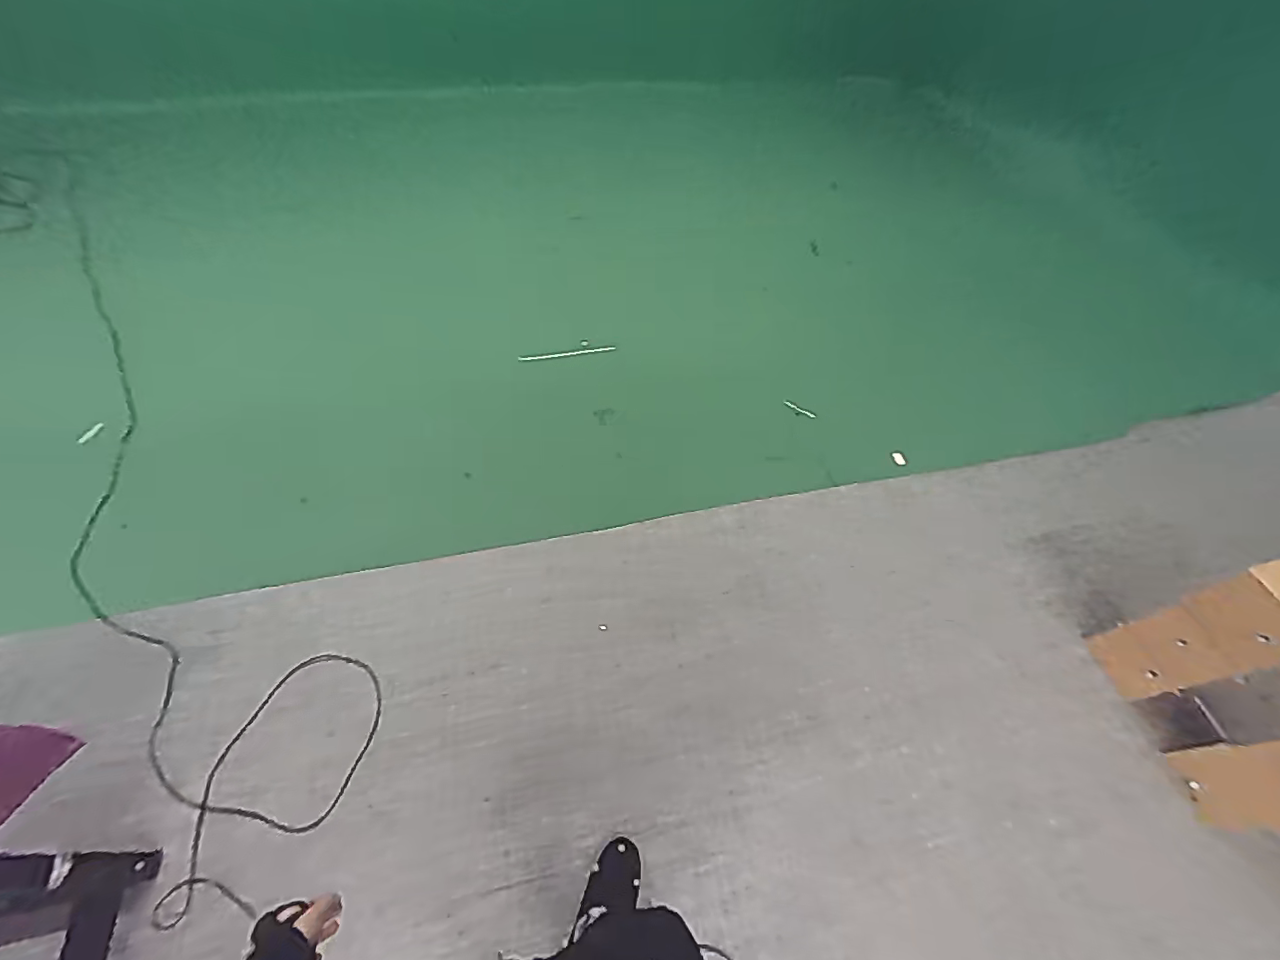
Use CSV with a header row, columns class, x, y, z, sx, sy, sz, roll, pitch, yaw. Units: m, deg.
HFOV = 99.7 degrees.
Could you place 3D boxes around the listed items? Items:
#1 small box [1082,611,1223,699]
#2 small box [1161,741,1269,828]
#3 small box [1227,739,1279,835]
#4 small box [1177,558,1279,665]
class,x,y,z,sx,sy,sz,roll,pitch,yaw
small box,1.360,0.476,1.450,0.168,0.176,0.179,-9,57,-10
small box,1.424,0.724,1.285,0.179,0.176,0.168,-2,55,-3
small box,1.431,0.645,1.140,0.168,0.176,0.179,-1,54,-4
small box,1.363,0.290,1.179,0.168,0.176,0.179,-10,56,-10
